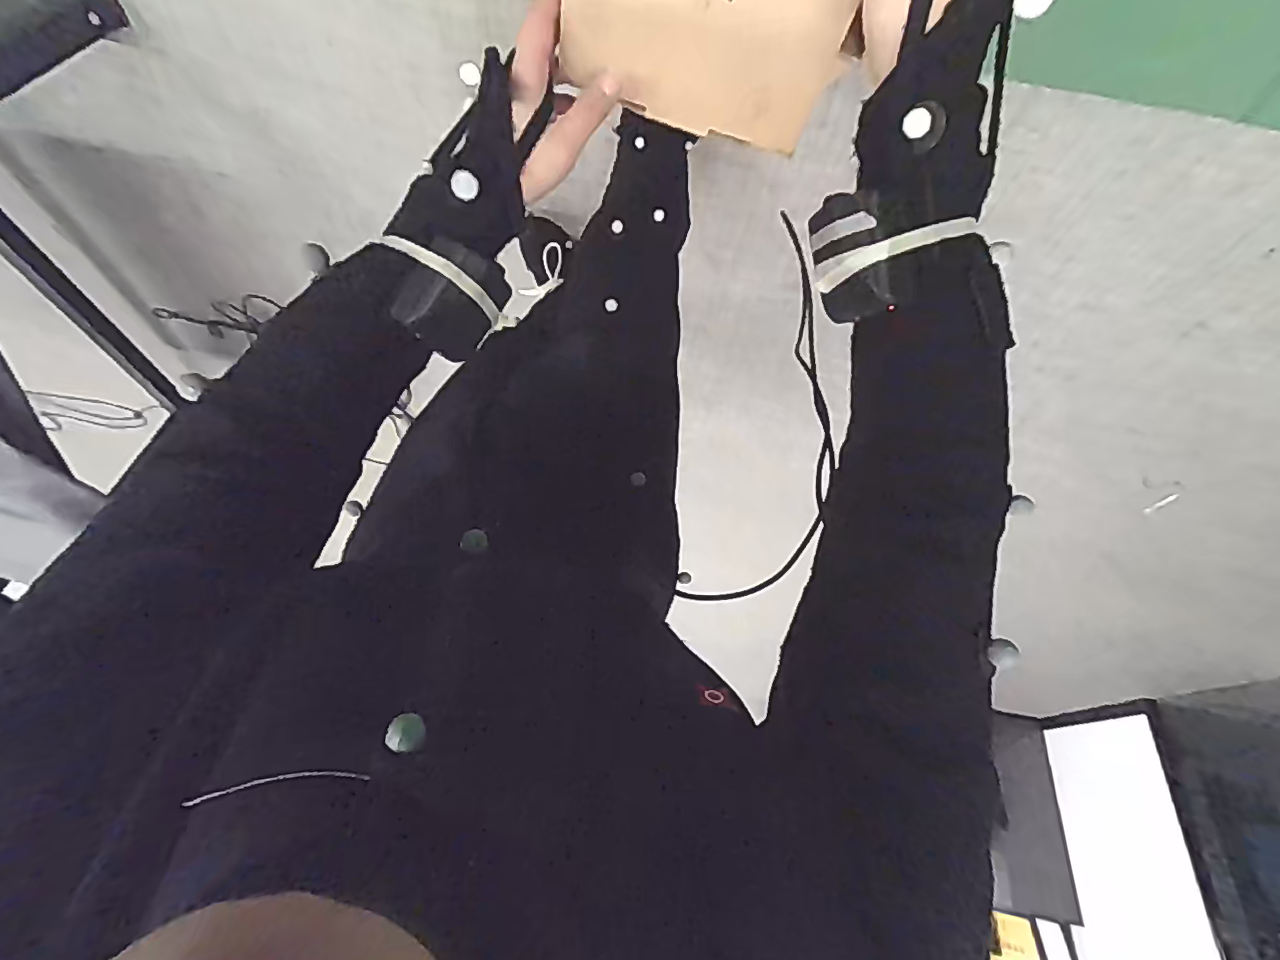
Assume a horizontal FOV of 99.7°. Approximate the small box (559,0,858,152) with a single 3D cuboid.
[{"bbox_3d":[0.058,-0.348,0.322,0.168,0.176,0.179,16,149,-3],"label":"small box"}]
